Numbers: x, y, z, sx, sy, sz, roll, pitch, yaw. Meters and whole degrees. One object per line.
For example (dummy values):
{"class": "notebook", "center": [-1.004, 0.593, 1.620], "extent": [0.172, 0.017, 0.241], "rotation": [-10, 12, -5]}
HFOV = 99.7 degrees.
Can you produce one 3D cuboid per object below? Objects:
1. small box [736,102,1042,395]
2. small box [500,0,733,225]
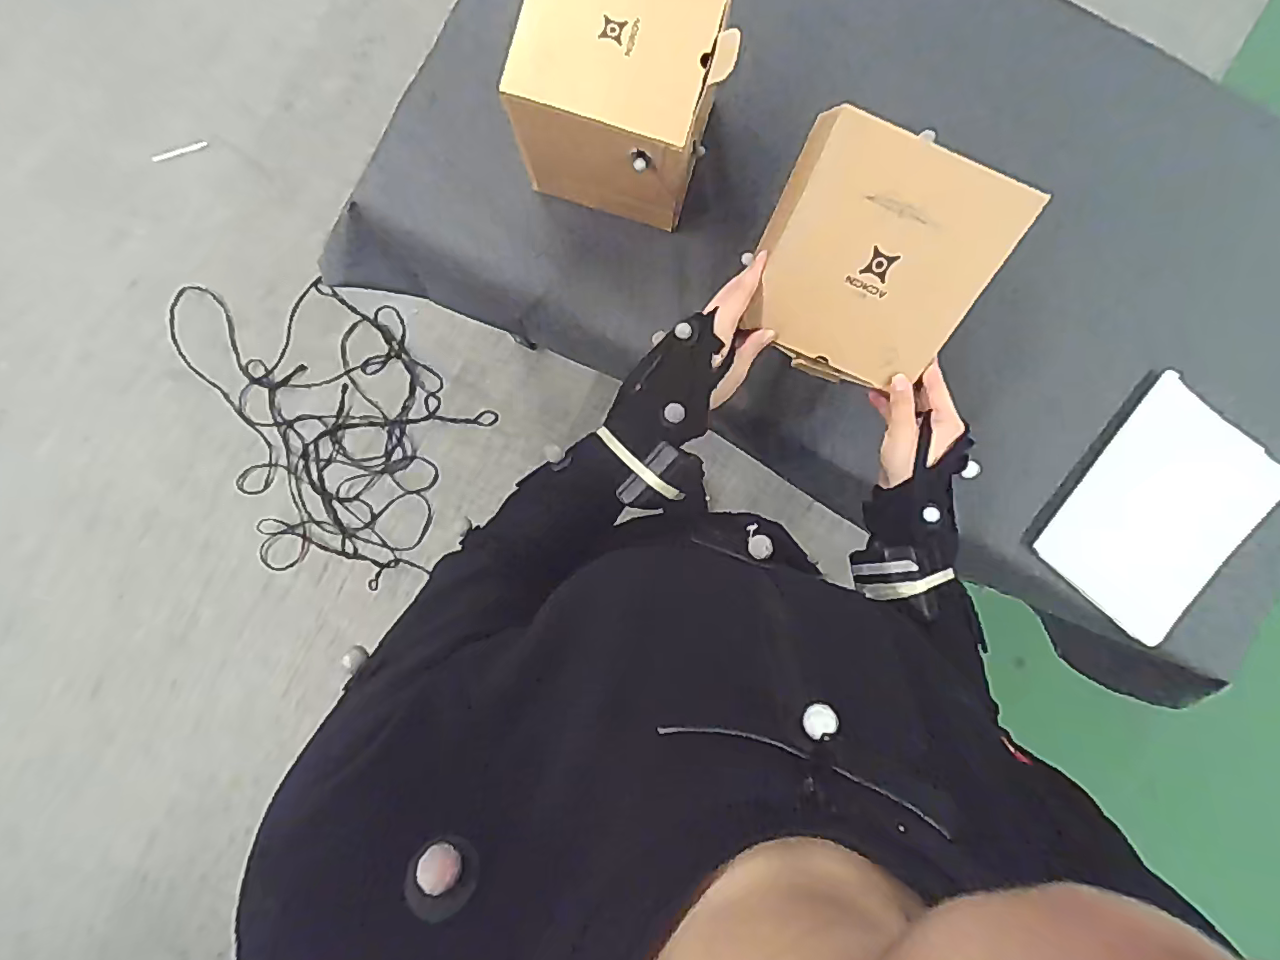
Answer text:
{"class": "small box", "center": [0.202, -0.211, 0.496], "extent": [0.168, 0.176, 0.179], "rotation": [22, 123, -3]}
{"class": "small box", "center": [-0.021, -0.394, 0.557], "extent": [0.179, 0.176, 0.168], "rotation": [16, 90, -2]}
